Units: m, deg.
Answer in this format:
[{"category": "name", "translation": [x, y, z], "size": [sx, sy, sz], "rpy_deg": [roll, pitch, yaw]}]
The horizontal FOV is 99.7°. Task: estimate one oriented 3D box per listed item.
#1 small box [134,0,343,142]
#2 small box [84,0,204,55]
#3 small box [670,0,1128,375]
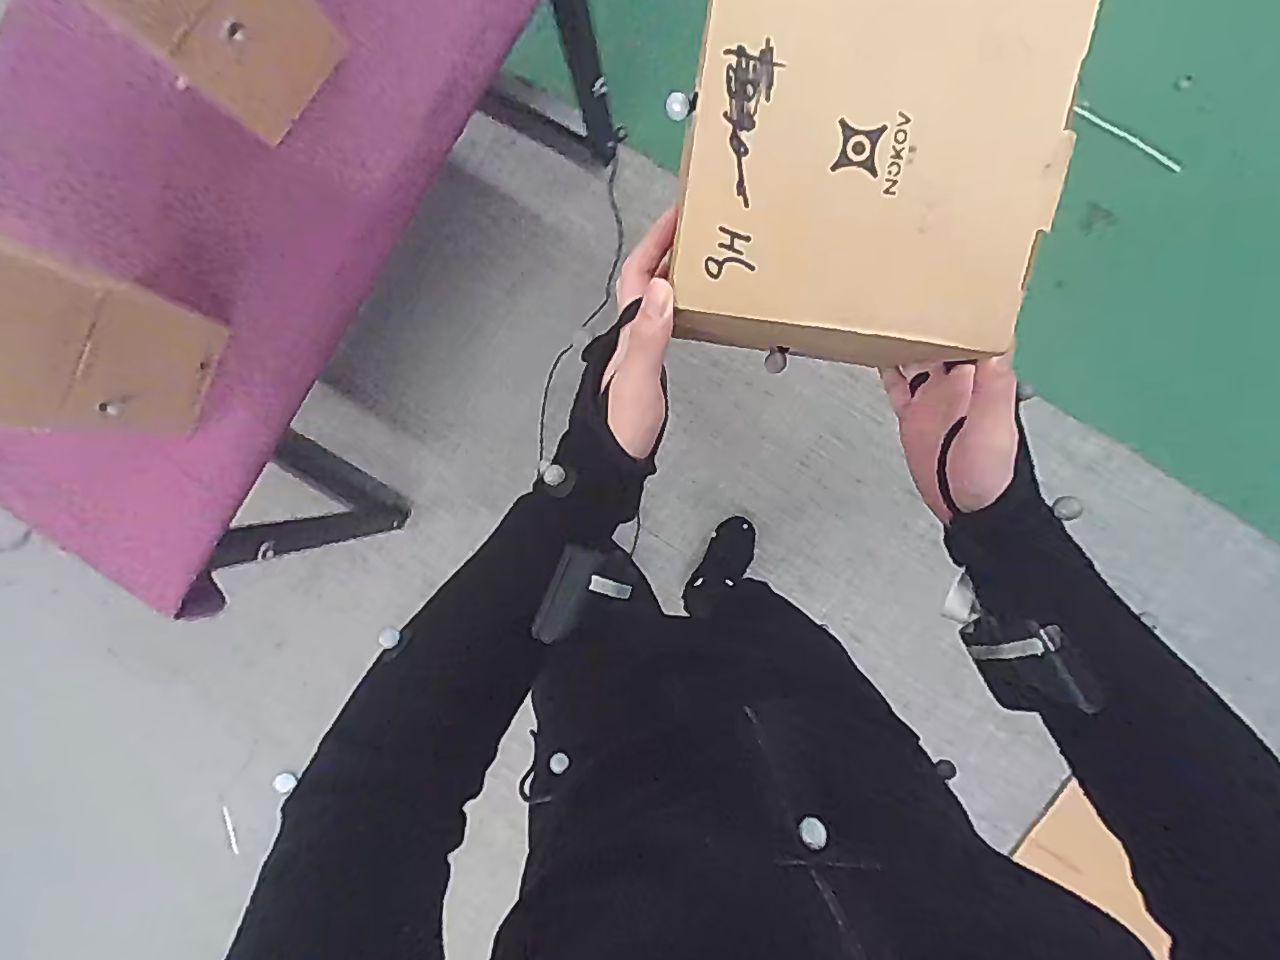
[{"category": "small box", "translation": [-0.514, -0.570, 0.664], "size": [0.168, 0.176, 0.179], "rpy_deg": [39, 93, 2]}, {"category": "small box", "translation": [-0.523, -0.562, 0.501], "size": [0.168, 0.176, 0.179], "rpy_deg": [38, 94, 1]}, {"category": "small box", "translation": [0.122, -0.161, 0.333], "size": [0.179, 0.176, 0.168], "rpy_deg": [9, 99, -2]}]
